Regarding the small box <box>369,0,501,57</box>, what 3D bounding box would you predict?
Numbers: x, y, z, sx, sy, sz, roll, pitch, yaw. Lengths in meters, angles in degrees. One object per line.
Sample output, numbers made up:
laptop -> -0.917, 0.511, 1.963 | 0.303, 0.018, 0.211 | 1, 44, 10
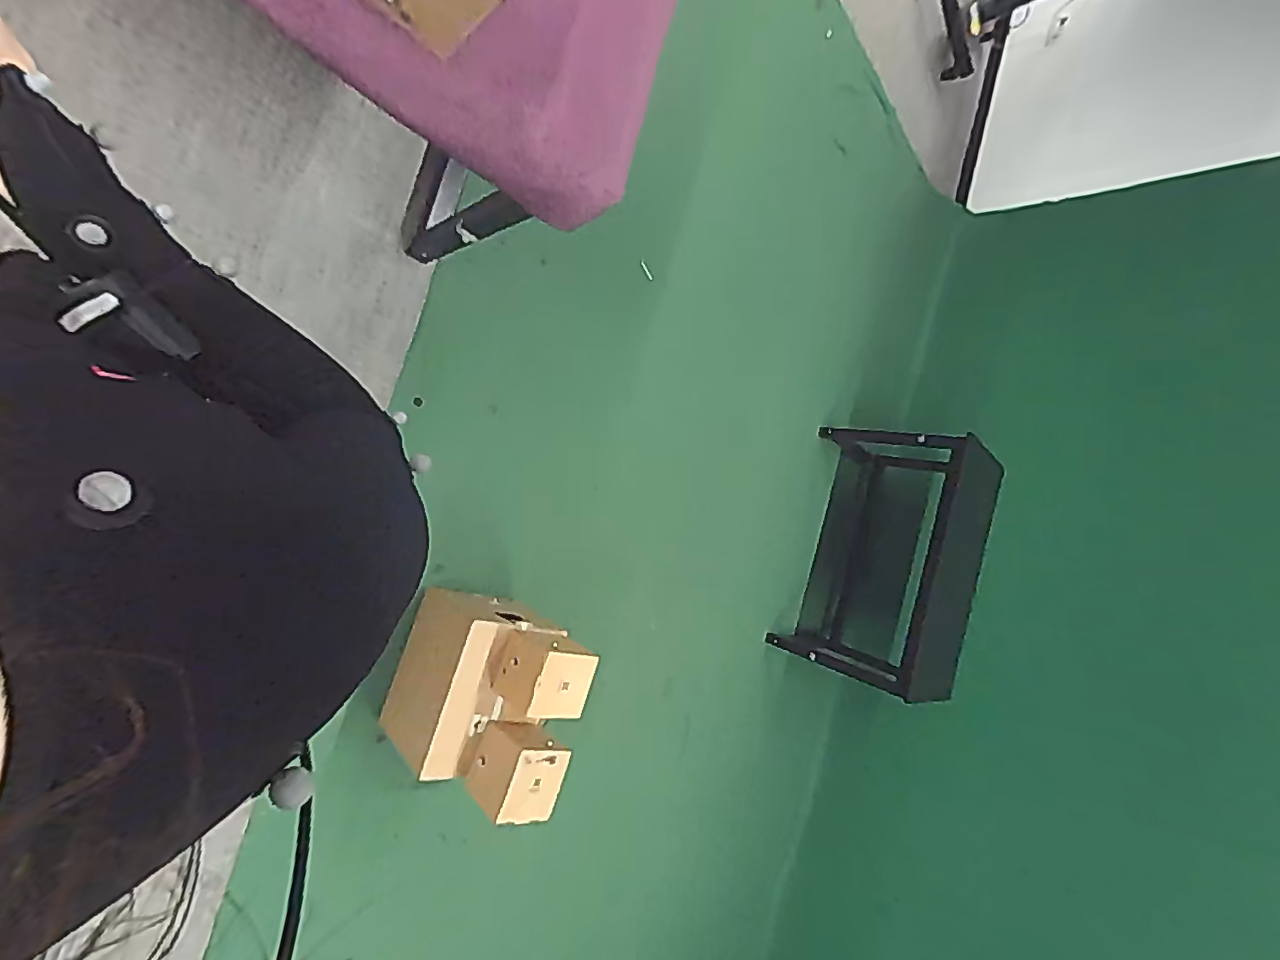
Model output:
small box -> -0.242, -0.654, 0.622 | 0.168, 0.176, 0.179 | 21, 83, -43

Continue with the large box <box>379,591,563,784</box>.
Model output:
large box -> -0.477, 0.565, 1.530 | 0.320, 0.320, 0.408 | 23, 82, -42

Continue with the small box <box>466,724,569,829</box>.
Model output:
small box -> -0.317, 0.749, 1.374 | 0.168, 0.176, 0.179 | 30, 77, -43

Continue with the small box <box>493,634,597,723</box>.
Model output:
small box -> -0.247, 0.511, 1.400 | 0.179, 0.176, 0.168 | 24, 82, -43
